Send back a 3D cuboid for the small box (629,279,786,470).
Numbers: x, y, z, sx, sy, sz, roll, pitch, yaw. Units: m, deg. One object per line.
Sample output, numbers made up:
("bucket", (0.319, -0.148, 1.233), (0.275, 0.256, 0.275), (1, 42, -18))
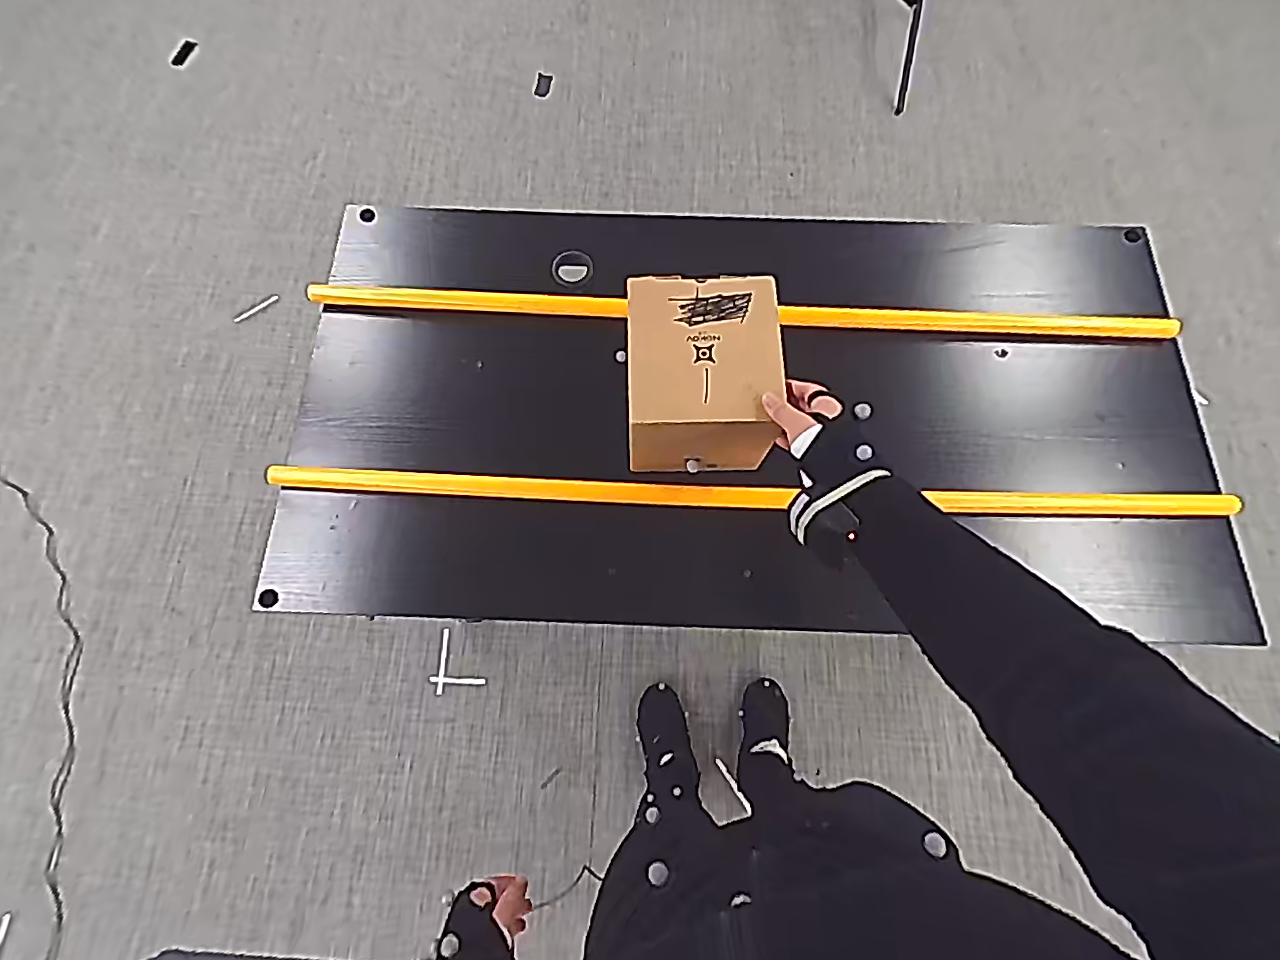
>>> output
("small box", (0.070, -0.120, 0.659), (0.168, 0.176, 0.179), (-1, 74, 0))
